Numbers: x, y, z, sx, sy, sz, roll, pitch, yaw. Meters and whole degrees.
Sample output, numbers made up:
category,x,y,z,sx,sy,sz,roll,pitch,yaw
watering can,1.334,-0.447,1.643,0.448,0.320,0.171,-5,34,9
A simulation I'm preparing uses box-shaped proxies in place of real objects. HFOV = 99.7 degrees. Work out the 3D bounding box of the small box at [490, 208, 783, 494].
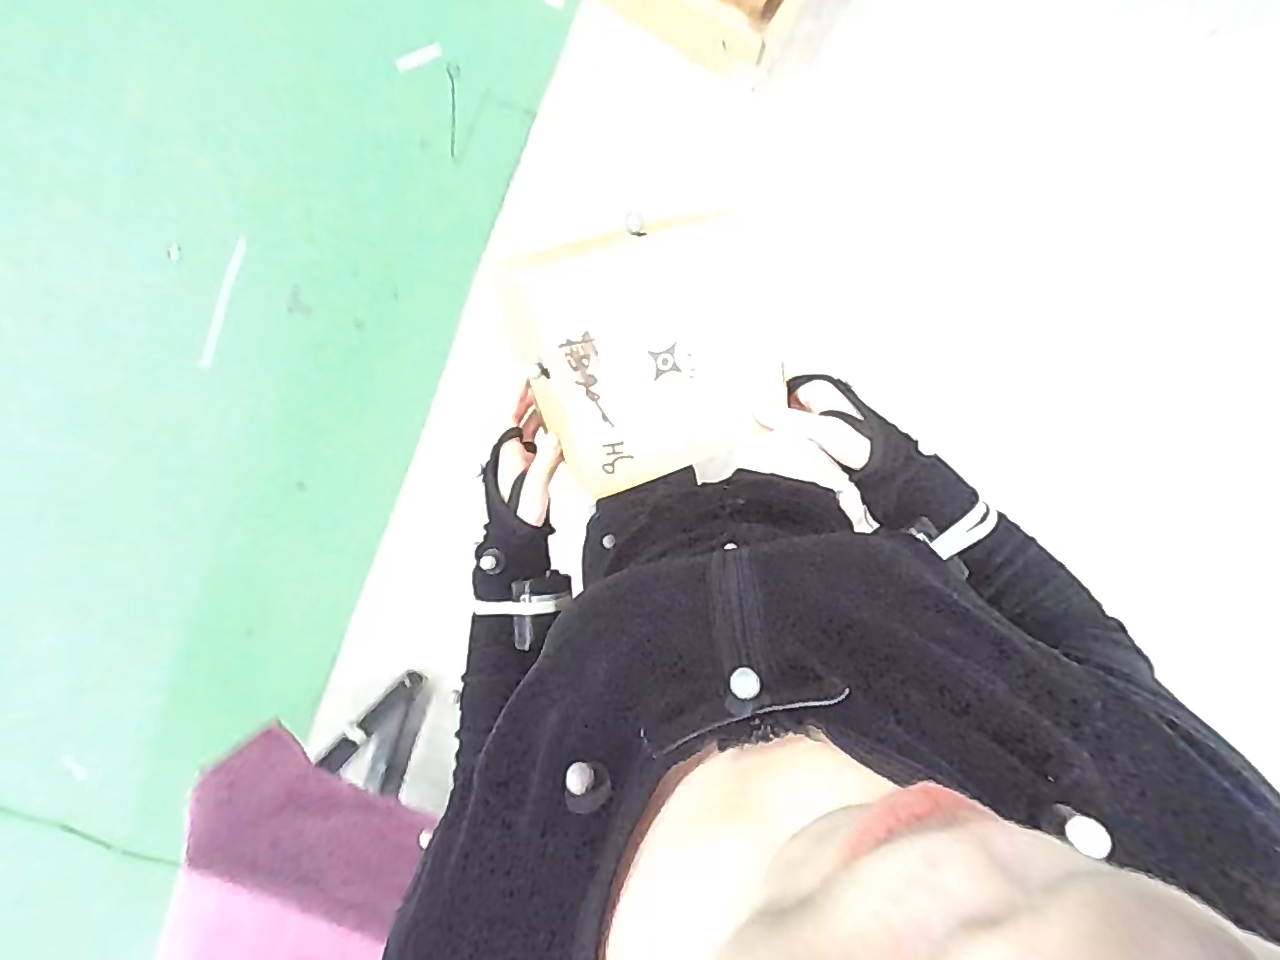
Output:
category,x,y,z,sx,sy,sz,roll,pitch,yaw
small box,-0.007,-0.117,0.450,0.179,0.176,0.168,-21,117,-14
